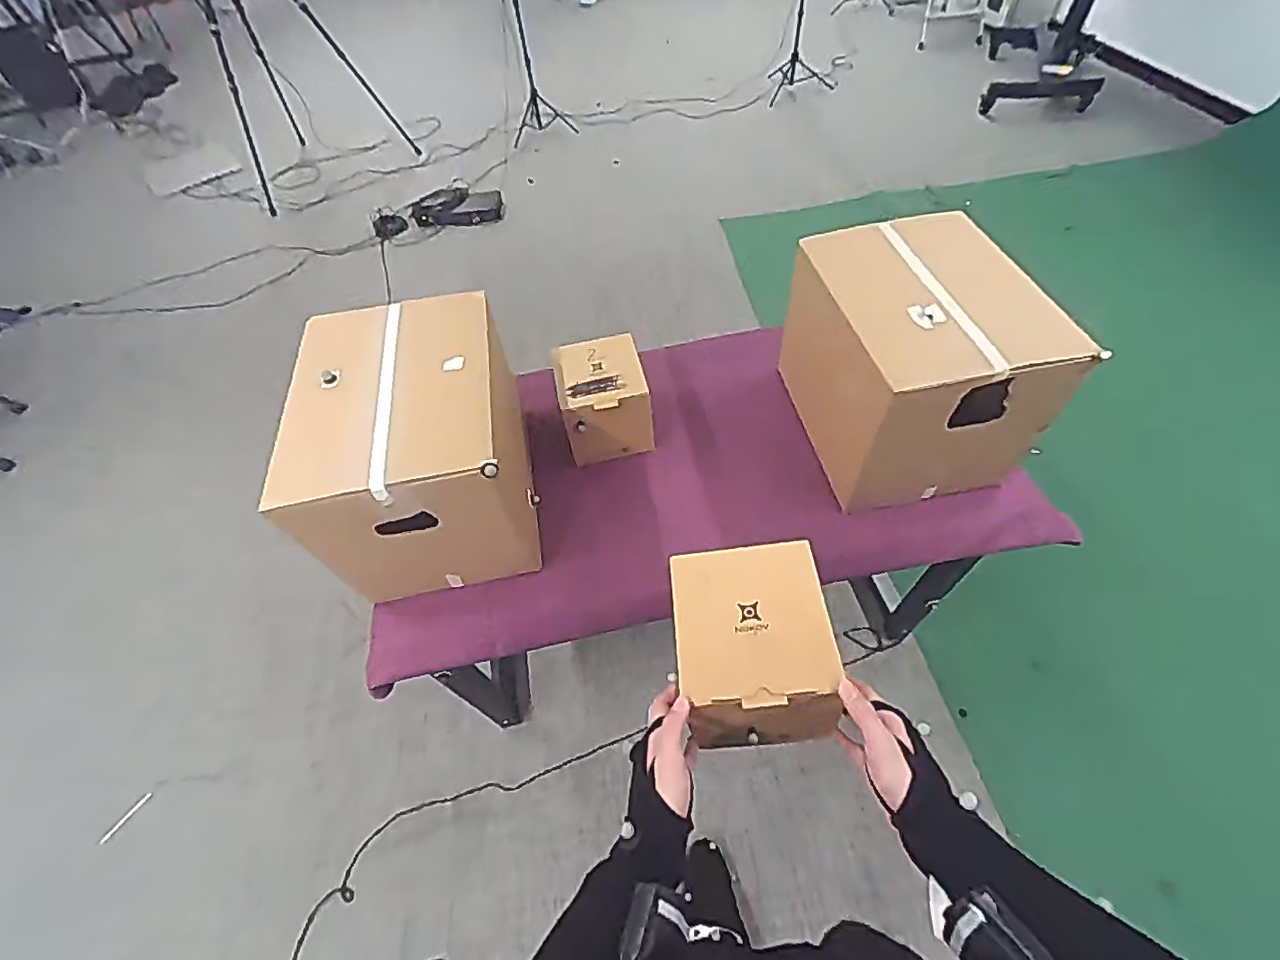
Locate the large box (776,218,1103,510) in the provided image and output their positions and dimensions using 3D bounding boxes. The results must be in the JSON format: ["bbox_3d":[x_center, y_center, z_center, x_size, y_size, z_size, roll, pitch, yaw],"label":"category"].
[{"bbox_3d":[0.478,-0.211,0.988,0.320,0.320,0.408,-11,55,-2],"label":"large box"}]

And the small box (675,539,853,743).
[{"bbox_3d":[0.135,0.194,0.641,0.168,0.176,0.179,-7,51,6],"label":"small box"}]
